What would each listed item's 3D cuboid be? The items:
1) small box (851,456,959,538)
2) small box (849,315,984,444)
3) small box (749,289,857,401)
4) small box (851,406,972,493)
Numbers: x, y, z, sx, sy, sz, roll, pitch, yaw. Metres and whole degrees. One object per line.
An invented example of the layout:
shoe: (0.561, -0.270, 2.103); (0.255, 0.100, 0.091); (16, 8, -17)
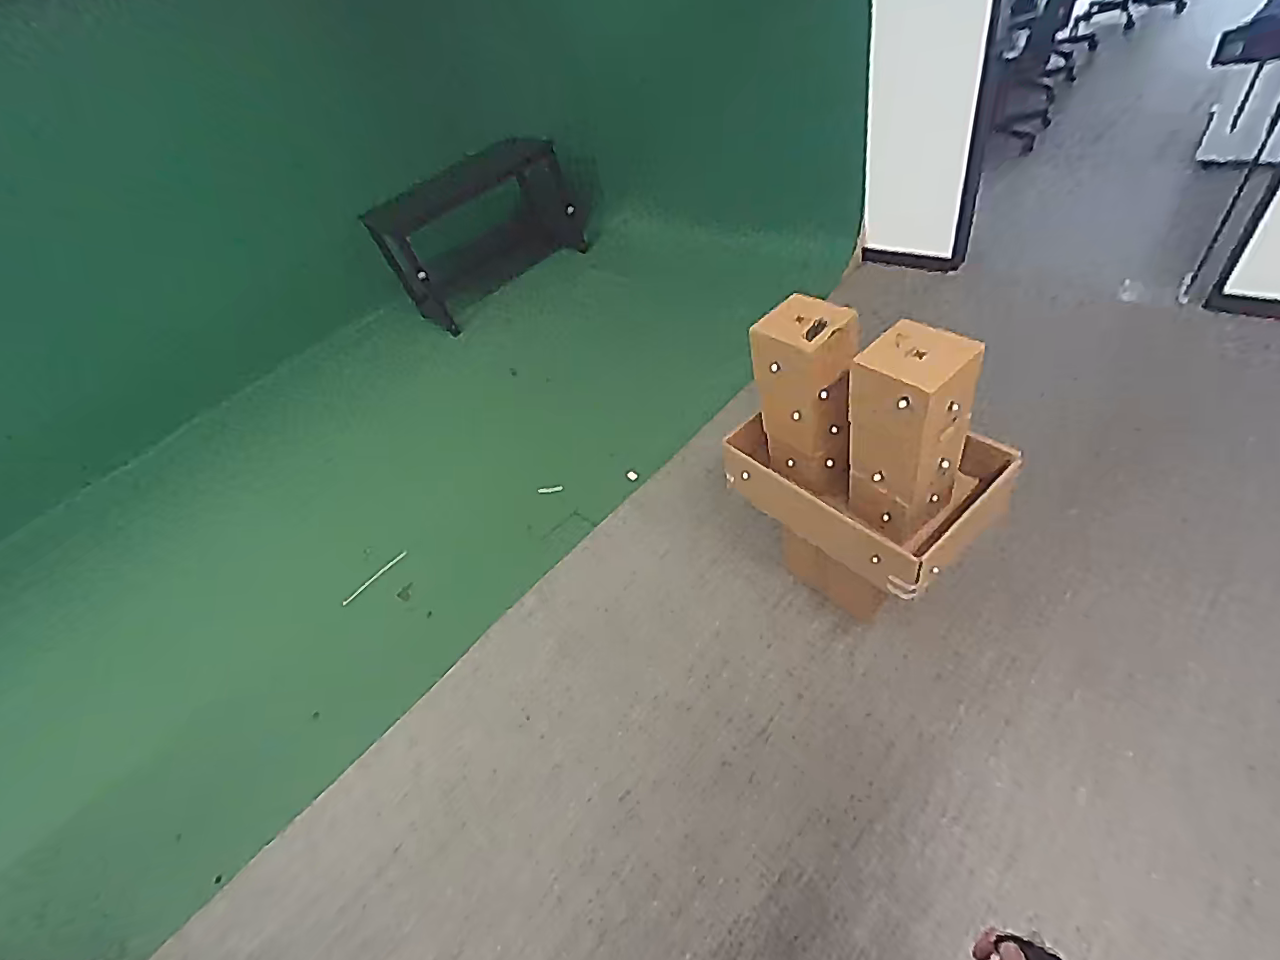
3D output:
small box: (0.645, 0.009, 1.327); (0.179, 0.176, 0.168); (-36, 48, -11)
small box: (0.548, -0.197, 1.090); (0.168, 0.176, 0.179); (-38, 48, -14)
small box: (0.381, -0.309, 1.257); (0.168, 0.176, 0.179); (-40, 48, -15)
small box: (0.598, -0.096, 1.211); (0.168, 0.176, 0.179); (-36, 48, -12)
